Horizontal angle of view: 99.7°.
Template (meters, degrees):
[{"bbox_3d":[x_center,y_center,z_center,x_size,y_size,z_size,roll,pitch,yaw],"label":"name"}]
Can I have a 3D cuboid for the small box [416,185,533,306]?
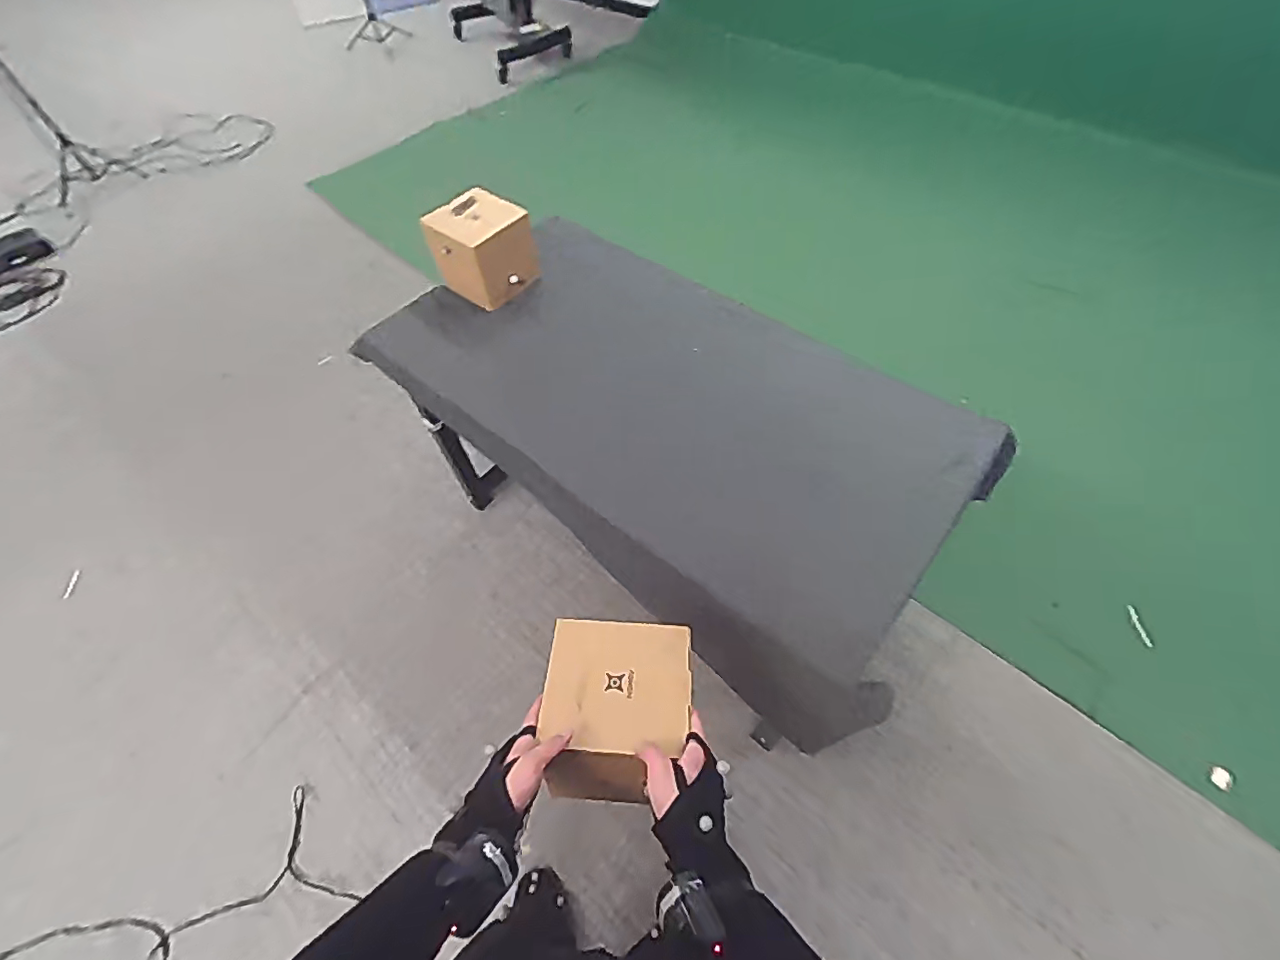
[{"bbox_3d":[-0.366,-0.527,1.223,0.179,0.176,0.168,34,61,19],"label":"small box"}]

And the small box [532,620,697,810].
[{"bbox_3d":[-0.028,0.295,0.679,0.179,0.176,0.168,1,41,0],"label":"small box"}]
